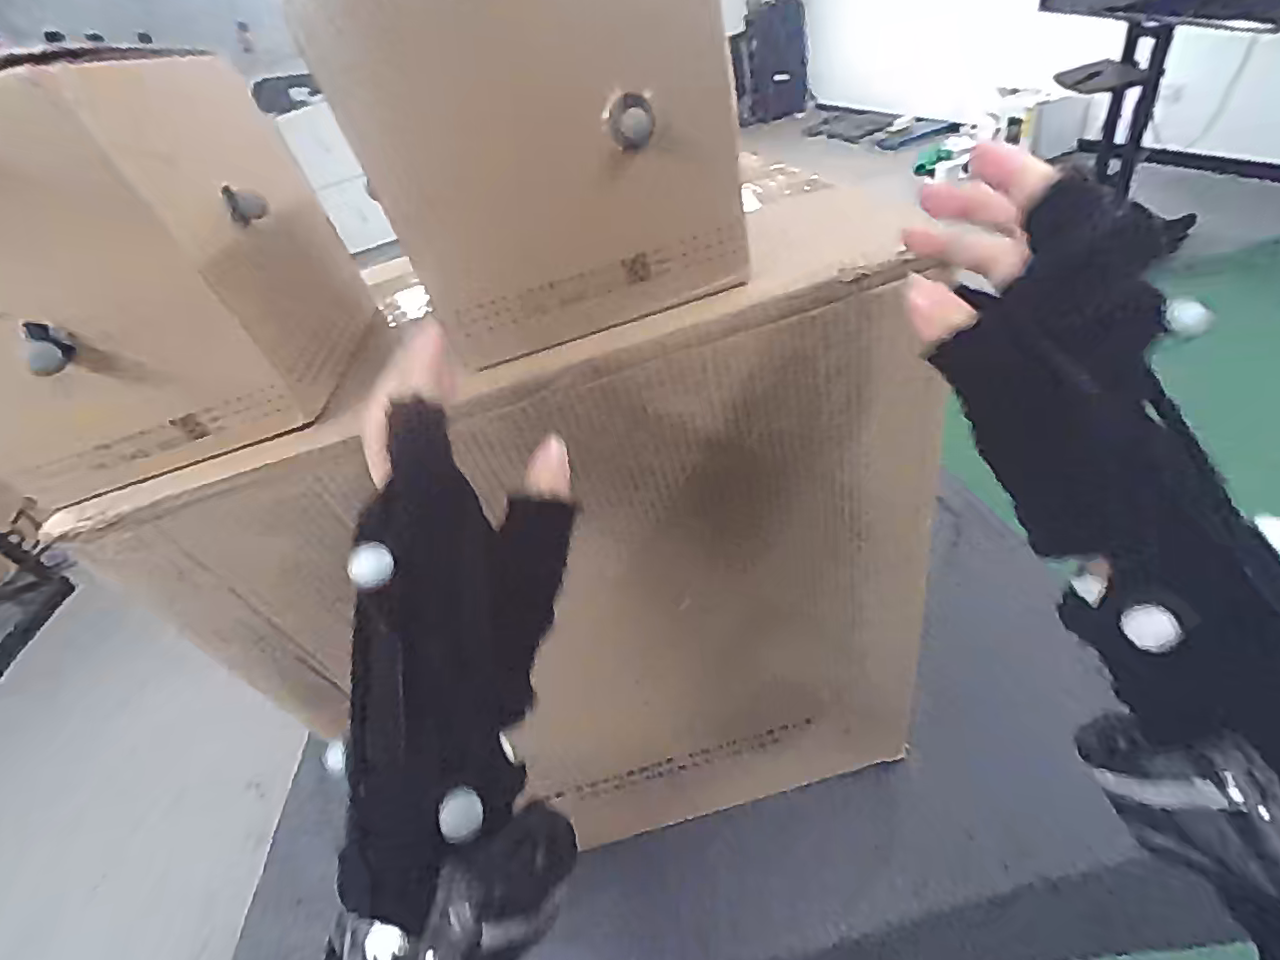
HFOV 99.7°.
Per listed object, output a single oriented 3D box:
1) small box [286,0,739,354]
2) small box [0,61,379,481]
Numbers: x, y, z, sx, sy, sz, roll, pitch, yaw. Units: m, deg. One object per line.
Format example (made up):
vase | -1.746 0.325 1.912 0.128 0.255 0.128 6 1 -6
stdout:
small box | -0.050 -0.190 0.314 0.168 0.176 0.179 -16 38 1
small box | -0.288 -0.118 0.325 0.168 0.176 0.179 -17 40 3
